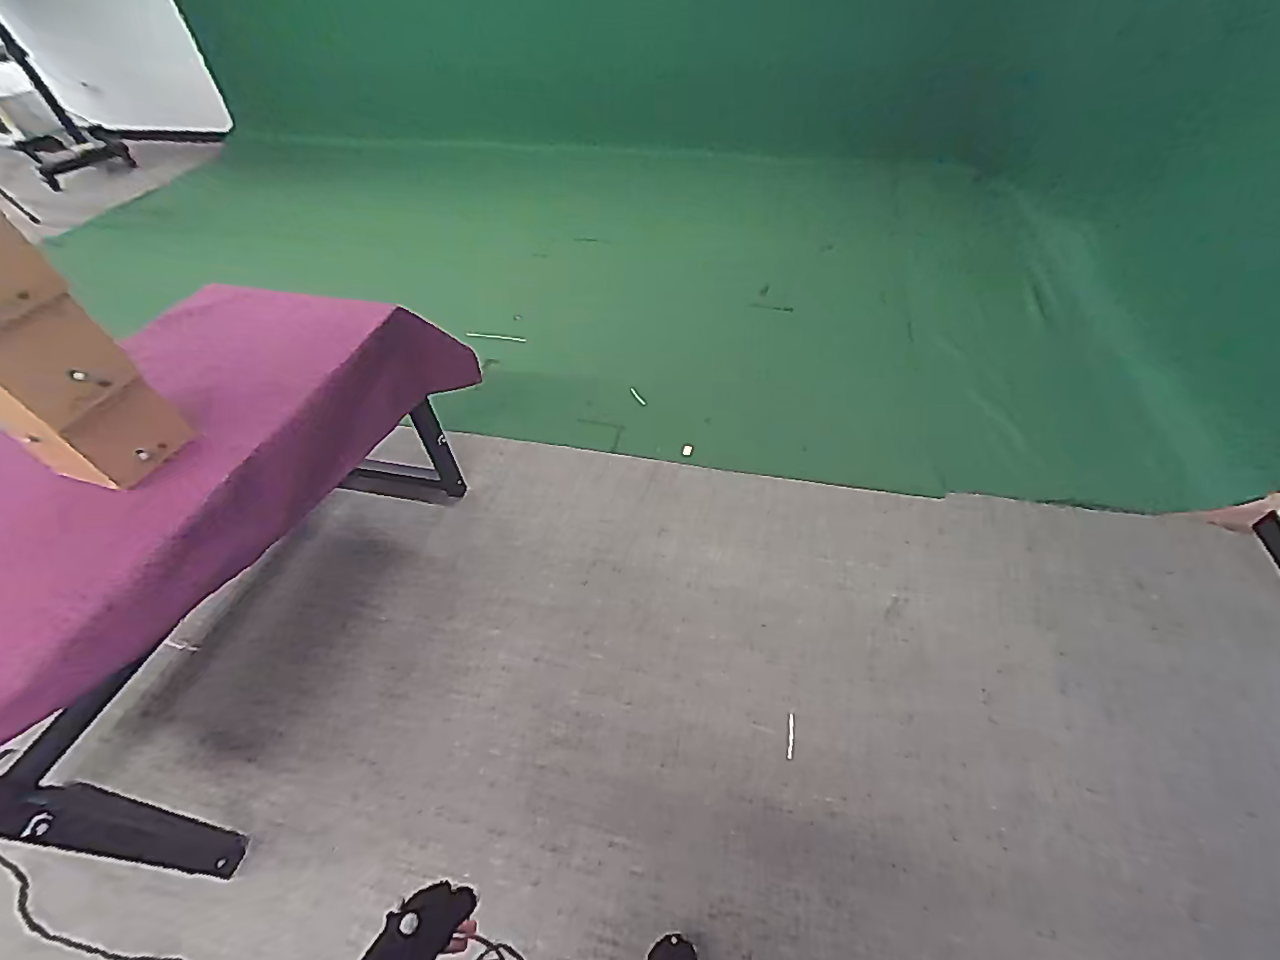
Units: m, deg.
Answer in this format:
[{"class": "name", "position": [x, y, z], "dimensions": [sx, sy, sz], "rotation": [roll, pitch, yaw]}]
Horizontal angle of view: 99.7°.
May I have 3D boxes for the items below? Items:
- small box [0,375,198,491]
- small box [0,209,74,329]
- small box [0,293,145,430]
[{"class": "small box", "position": [-1.015, -0.100, 1.027], "dimensions": [0.179, 0.176, 0.168], "rotation": [13, 51, 13]}, {"class": "small box", "position": [-1.004, -0.313, 0.776], "dimensions": [0.179, 0.176, 0.168], "rotation": [11, 50, 14]}, {"class": "small box", "position": [-1.007, -0.203, 0.898], "dimensions": [0.179, 0.176, 0.168], "rotation": [11, 51, 12]}]
